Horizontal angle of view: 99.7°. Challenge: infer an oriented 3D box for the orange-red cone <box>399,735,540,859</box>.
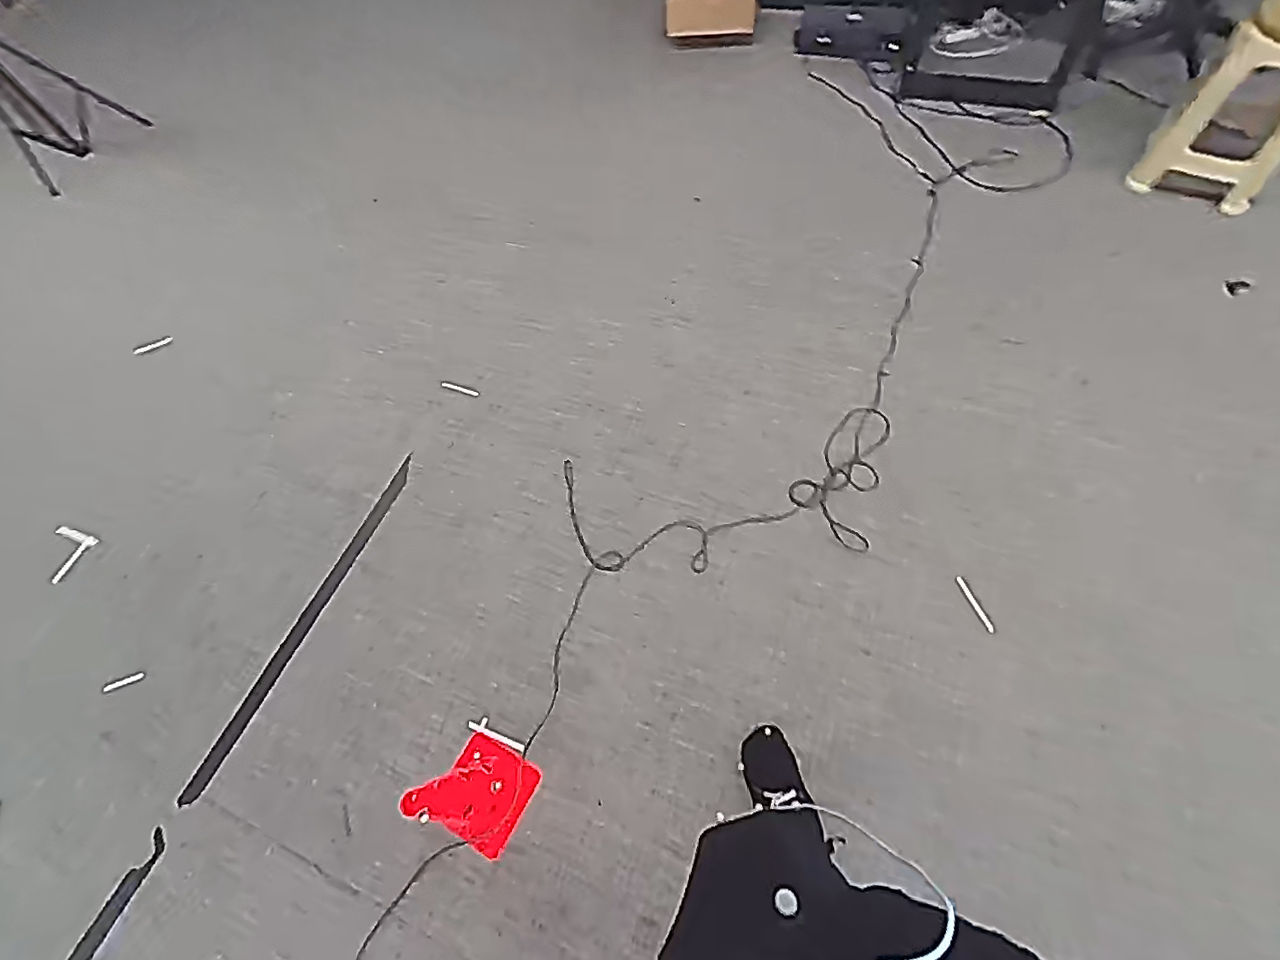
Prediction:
[{"bbox_3d":[-0.373,0.639,1.080,0.198,0.360,0.199,24,70,20],"label":"orange-red cone"}]
